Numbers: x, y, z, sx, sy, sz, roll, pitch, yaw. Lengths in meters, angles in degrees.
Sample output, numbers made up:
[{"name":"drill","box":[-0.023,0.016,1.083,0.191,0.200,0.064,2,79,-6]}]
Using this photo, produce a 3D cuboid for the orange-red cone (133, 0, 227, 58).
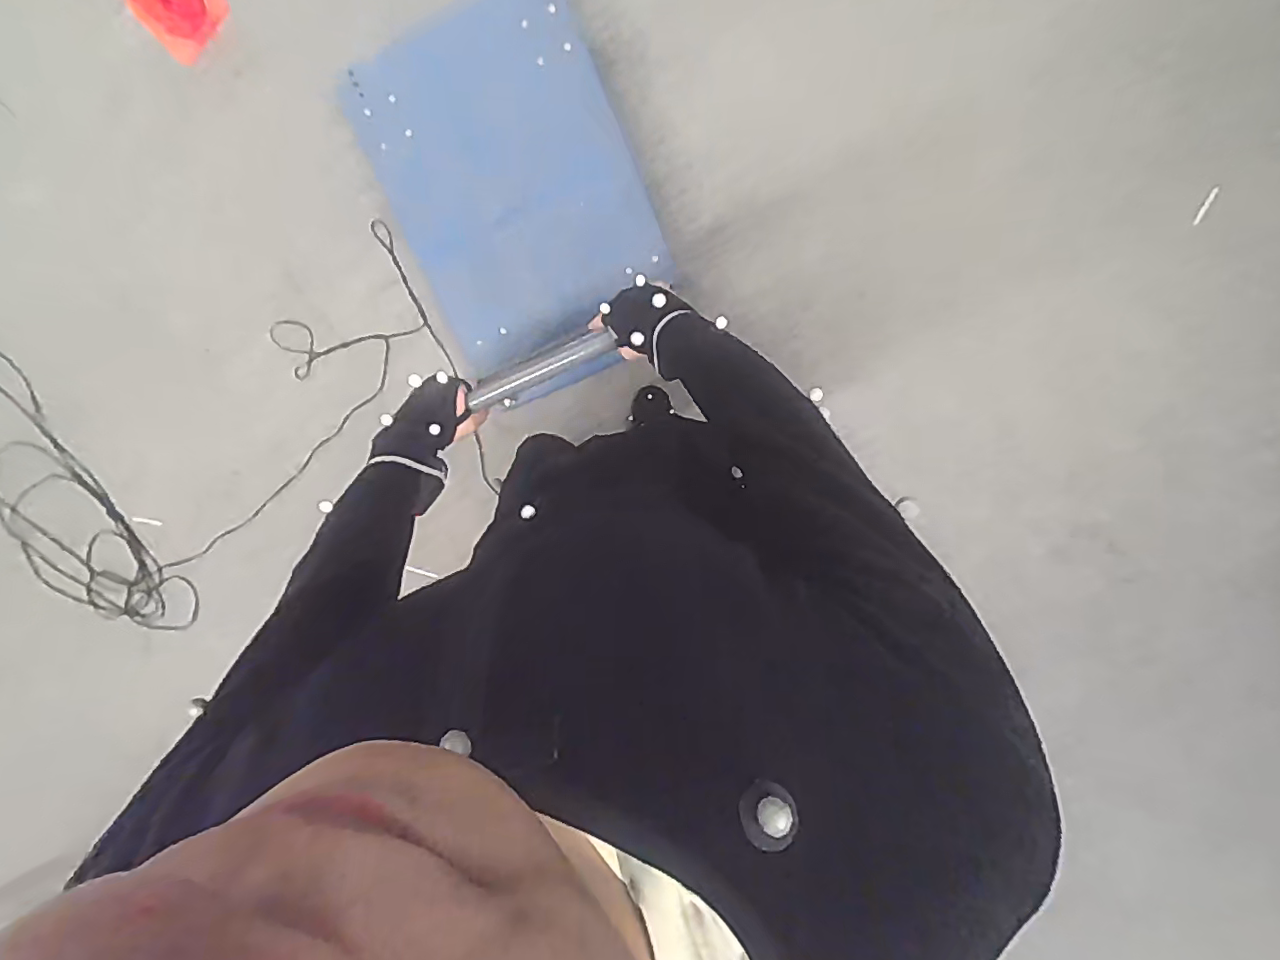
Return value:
[{"name":"orange-red cone","box":[-1.199,-1.194,1.229,0.199,0.360,0.198,-41,97,12]}]
